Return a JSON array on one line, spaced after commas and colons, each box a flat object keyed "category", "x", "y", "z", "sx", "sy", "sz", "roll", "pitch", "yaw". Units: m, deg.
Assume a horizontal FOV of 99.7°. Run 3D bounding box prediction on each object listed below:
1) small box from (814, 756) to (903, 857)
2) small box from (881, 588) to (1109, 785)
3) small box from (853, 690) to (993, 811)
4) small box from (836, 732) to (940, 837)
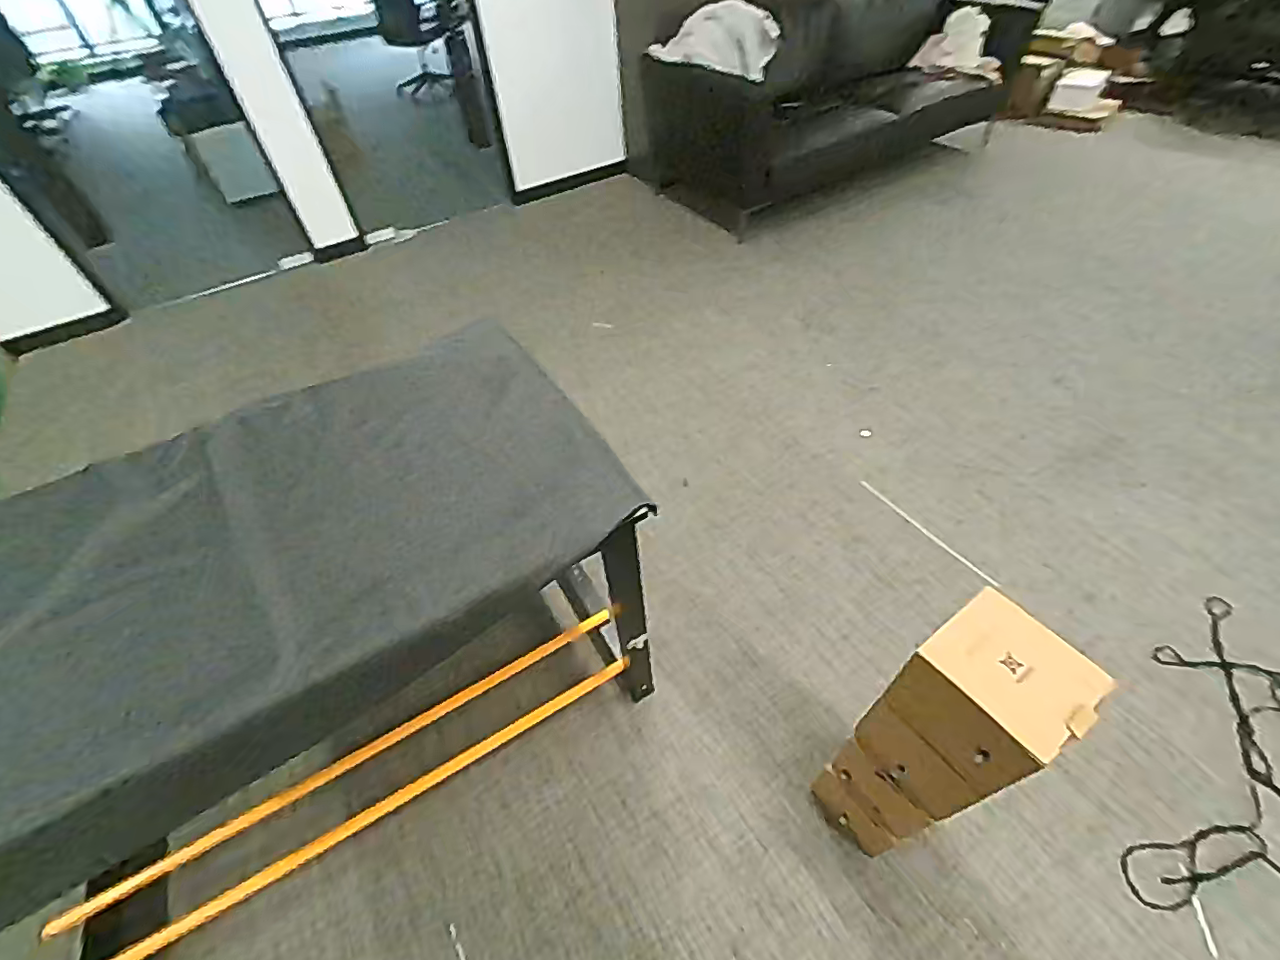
[{"category": "small box", "x": 0.482, "y": 0.628, "z": 1.109, "sx": 0.179, "sy": 0.176, "sz": 0.168, "roll": -32, "pitch": 53, "yaw": -22}, {"category": "small box", "x": 0.476, "y": 0.292, "z": 0.752, "sx": 0.168, "sy": 0.176, "sz": 0.179, "roll": -30, "pitch": 52, "yaw": -22}, {"category": "small box", "x": 0.480, "y": 0.401, "z": 0.873, "sx": 0.168, "sy": 0.176, "sz": 0.179, "roll": -30, "pitch": 53, "yaw": -22}, {"category": "small box", "x": 0.485, "y": 0.513, "z": 0.992, "sx": 0.179, "sy": 0.176, "sz": 0.168, "roll": -30, "pitch": 53, "yaw": -23}]
